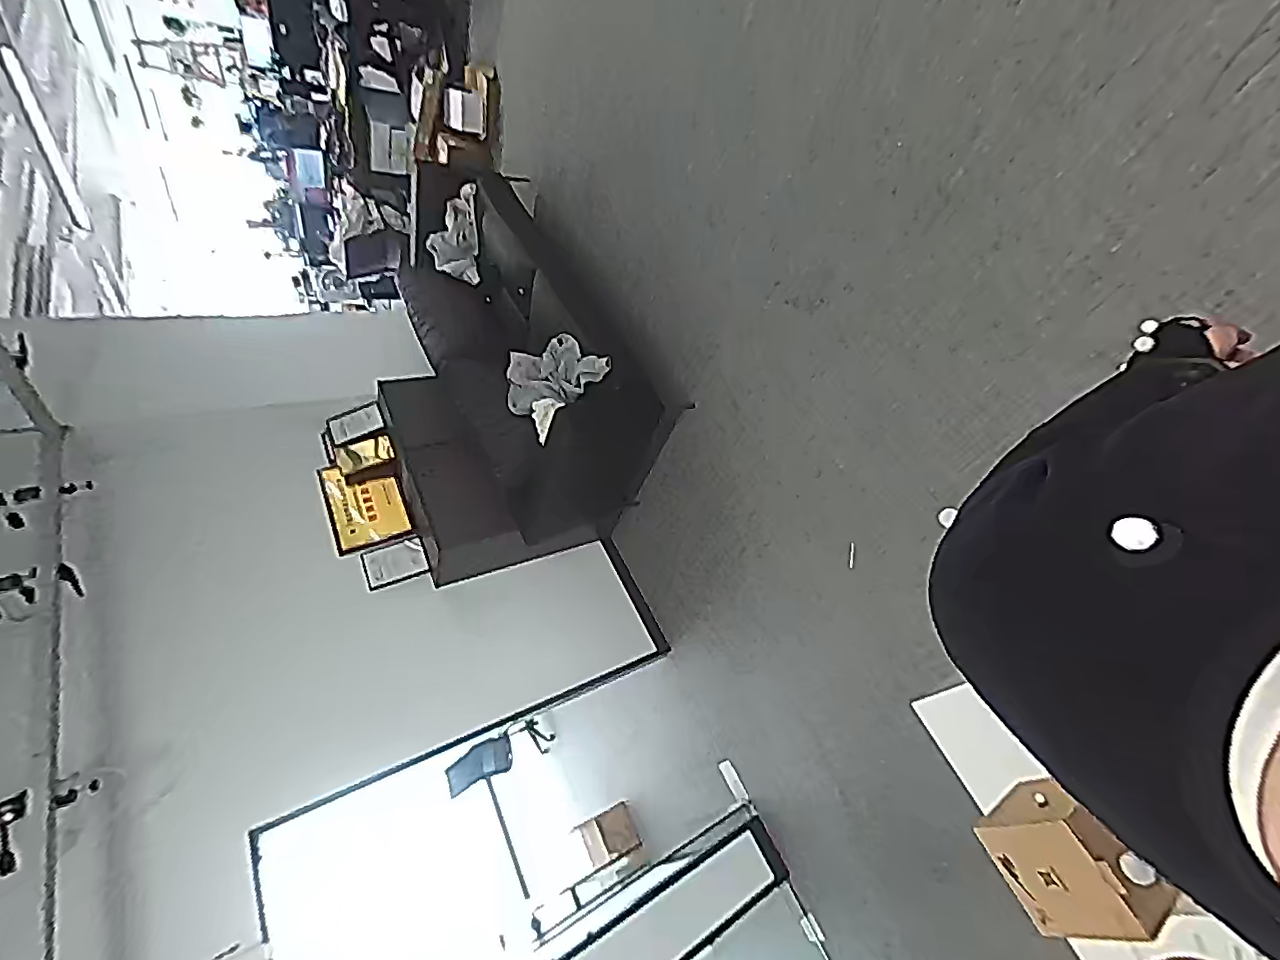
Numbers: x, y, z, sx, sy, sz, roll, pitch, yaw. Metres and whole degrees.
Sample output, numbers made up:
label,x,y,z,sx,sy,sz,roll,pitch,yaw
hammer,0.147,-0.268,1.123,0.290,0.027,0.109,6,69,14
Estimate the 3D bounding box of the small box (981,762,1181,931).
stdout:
label,x,y,z,sx,sy,sz,roll,pitch,yaw
small box,0.718,0.589,0.880,0.168,0.176,0.179,59,144,26
